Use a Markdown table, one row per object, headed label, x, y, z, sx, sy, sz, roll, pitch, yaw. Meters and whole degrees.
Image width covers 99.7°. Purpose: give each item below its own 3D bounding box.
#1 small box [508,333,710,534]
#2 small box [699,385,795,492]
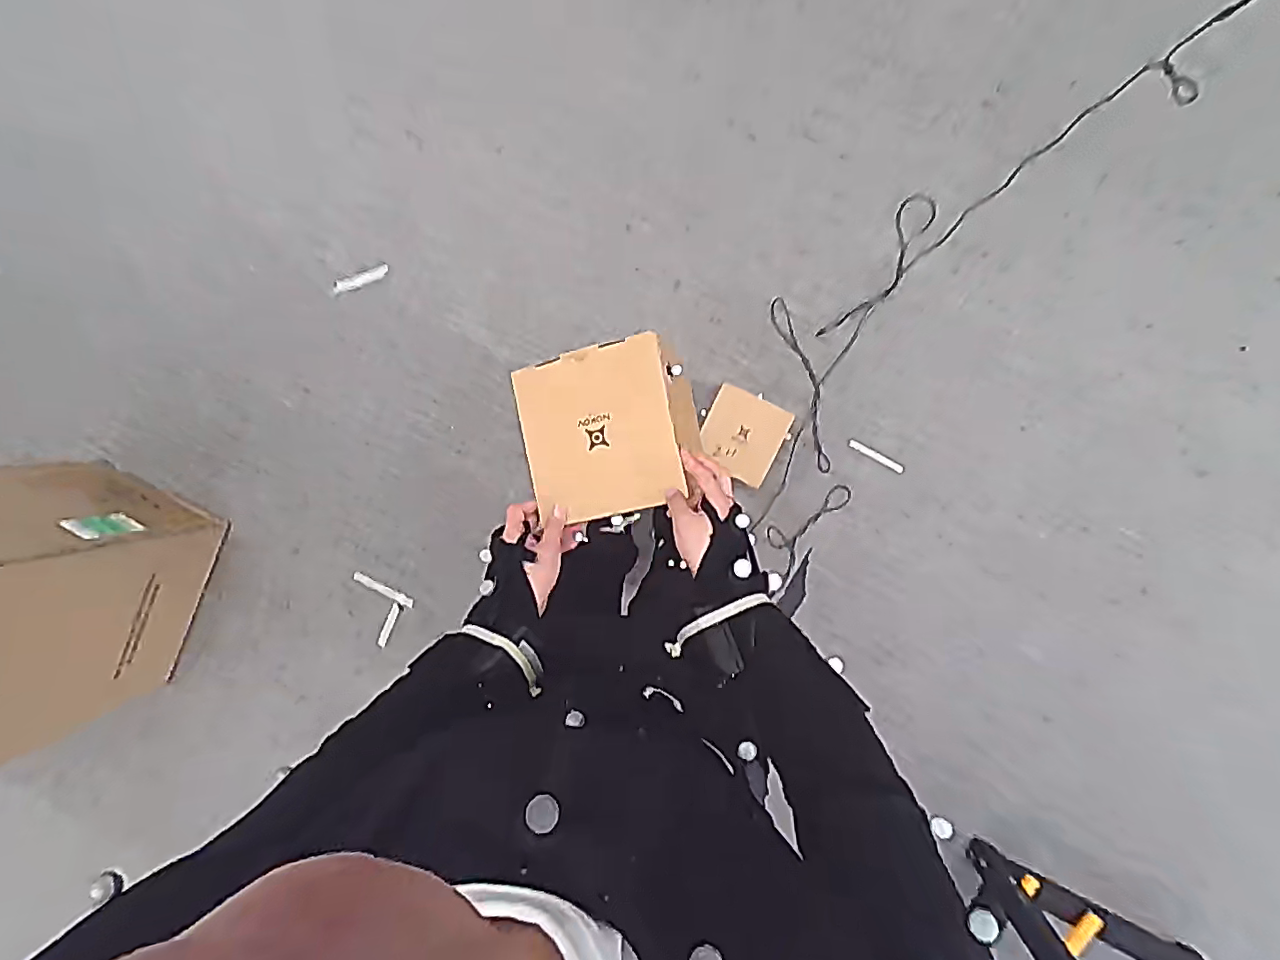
| label | x | y | z | sx | sy | sz | roll | pitch | yaw |
| --- | --- | --- | --- | --- | --- | --- | --- | --- | --- |
| small box | -0.023 | -0.047 | 0.621 | 0.168 | 0.176 | 0.179 | -13 | 88 | 15 |
| small box | 0.216 | -0.092 | 1.196 | 0.168 | 0.176 | 0.179 | 26 | 97 | 3 |
